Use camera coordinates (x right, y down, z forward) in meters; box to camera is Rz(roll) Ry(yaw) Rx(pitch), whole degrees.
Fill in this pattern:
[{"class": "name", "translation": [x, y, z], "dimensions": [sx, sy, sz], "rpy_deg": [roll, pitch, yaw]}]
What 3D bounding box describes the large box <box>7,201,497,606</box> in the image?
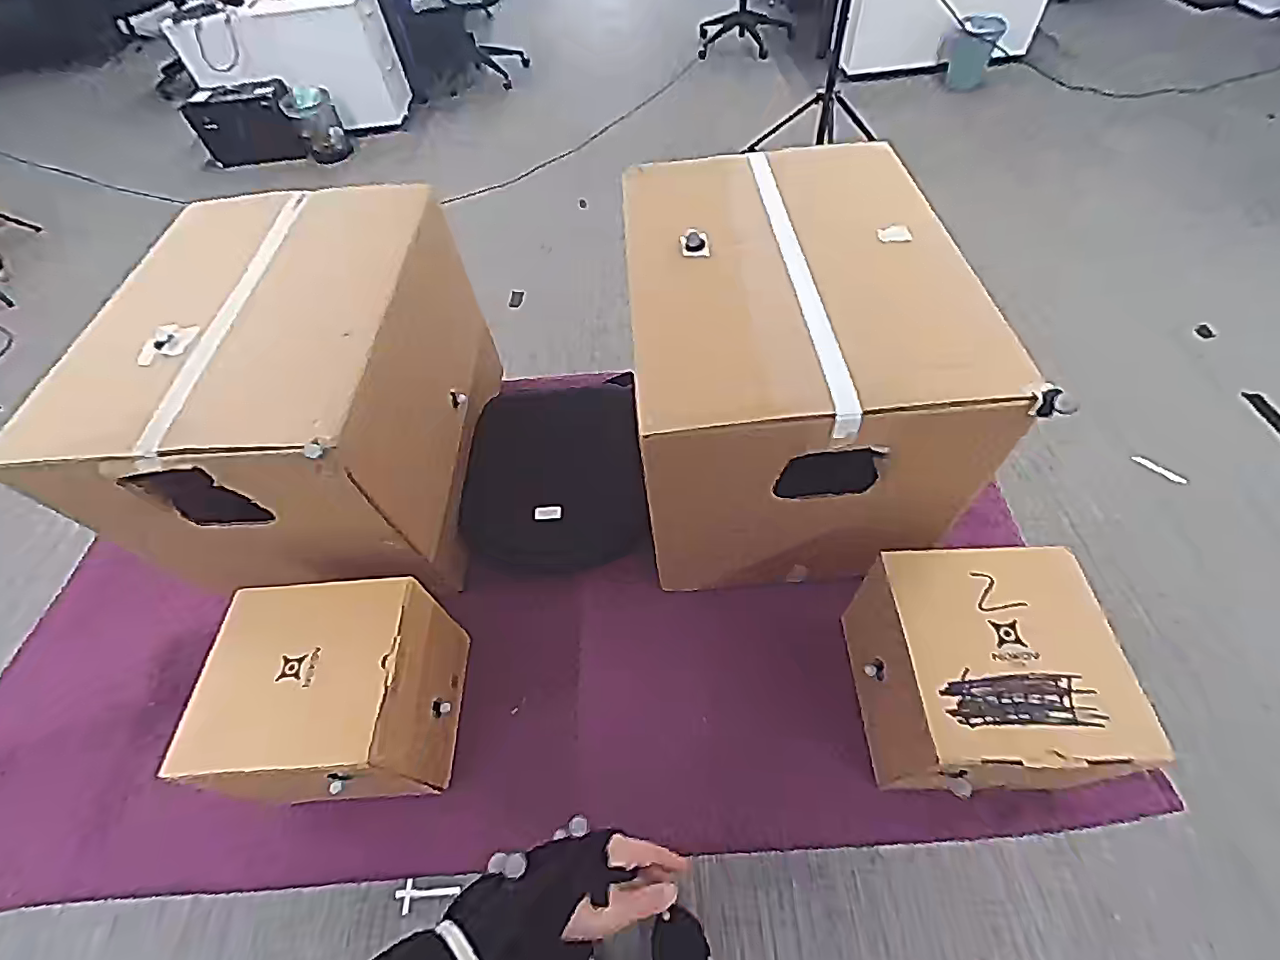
[{"class": "large box", "translation": [-0.390, -0.088, 0.687], "dimensions": [0.320, 0.320, 0.408], "rpy_deg": [-4, 57, 3]}]
